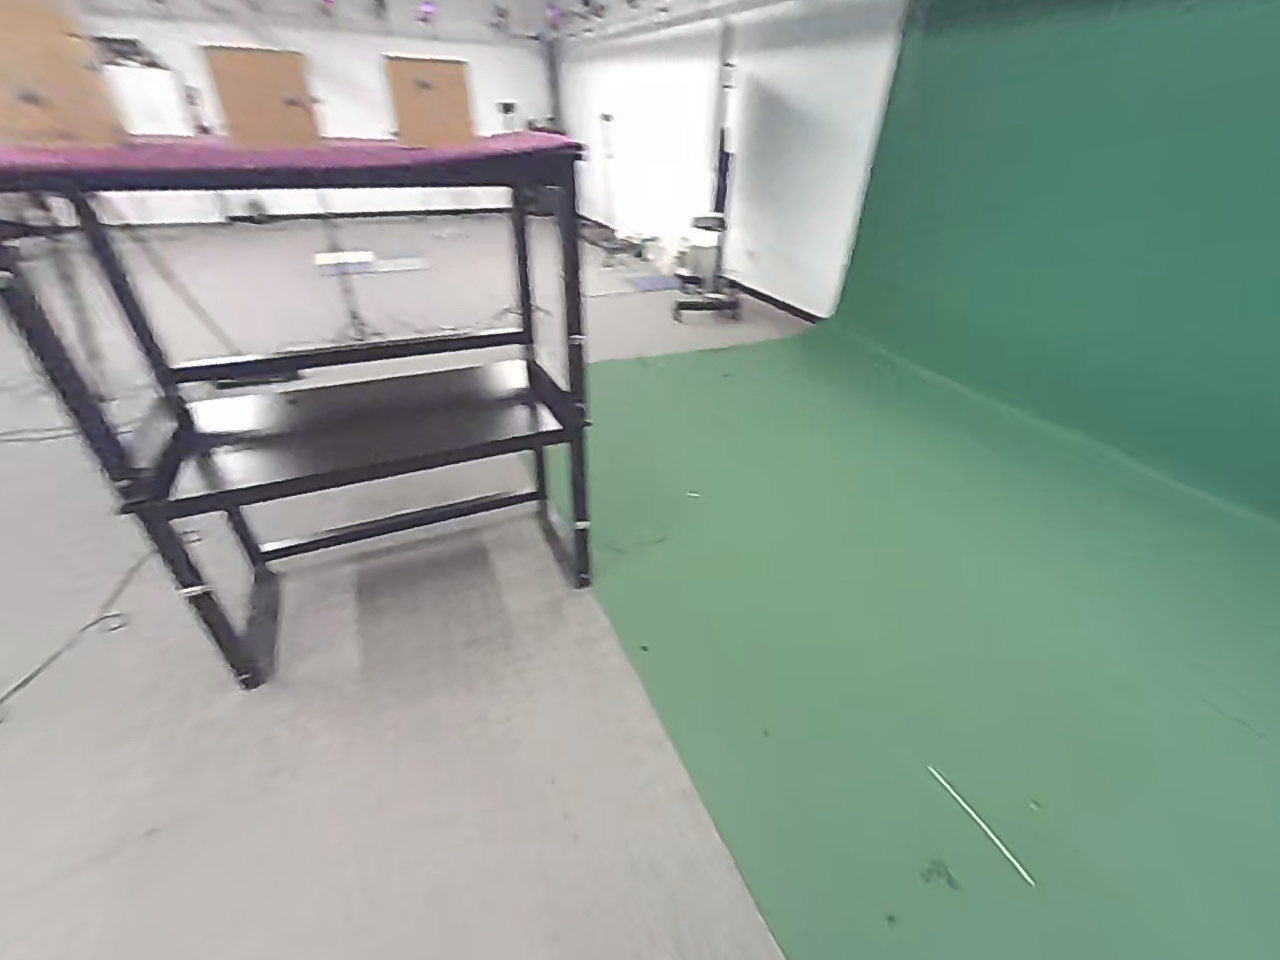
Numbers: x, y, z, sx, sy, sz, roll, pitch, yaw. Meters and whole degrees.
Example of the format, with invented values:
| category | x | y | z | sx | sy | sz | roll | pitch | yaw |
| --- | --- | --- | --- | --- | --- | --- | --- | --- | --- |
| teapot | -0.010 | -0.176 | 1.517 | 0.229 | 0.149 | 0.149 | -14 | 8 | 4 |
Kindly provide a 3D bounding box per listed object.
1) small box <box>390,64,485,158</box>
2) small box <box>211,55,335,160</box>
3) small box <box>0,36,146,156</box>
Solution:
| category | x | y | z | sx | sy | sz | roll | pitch | yaw |
| --- | --- | --- | --- | --- | --- | --- | --- | --- | --- |
| small box | -0.477 | -0.864 | 1.277 | 0.179 | 0.176 | 0.168 | -12 | 34 | -20 |
| small box | -0.757 | -0.780 | 1.140 | 0.179 | 0.176 | 0.168 | -15 | 36 | -22 |
| small box | -1.052 | -0.695 | 0.987 | 0.168 | 0.176 | 0.179 | -13 | 37 | -24 |
